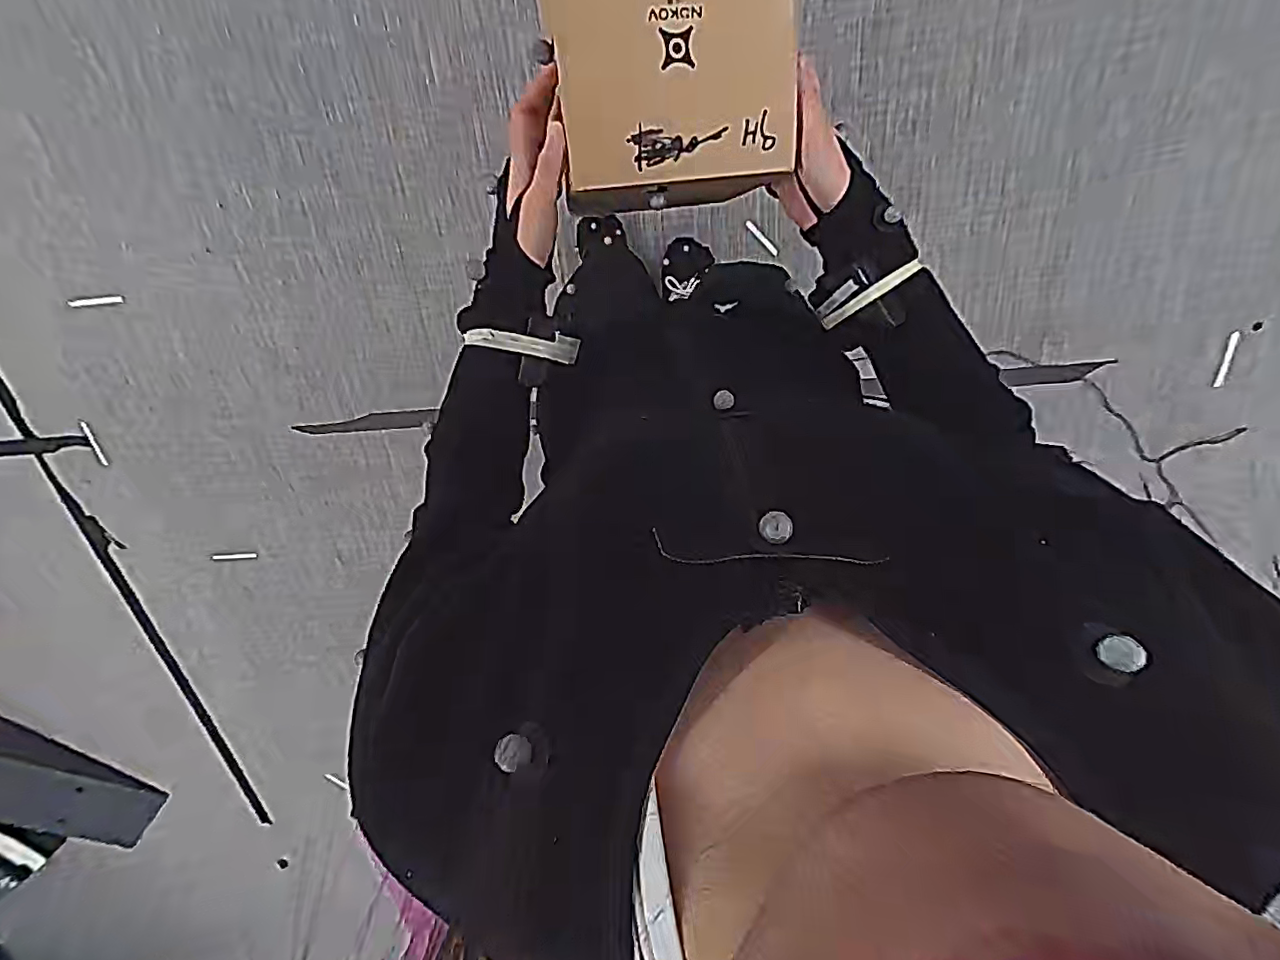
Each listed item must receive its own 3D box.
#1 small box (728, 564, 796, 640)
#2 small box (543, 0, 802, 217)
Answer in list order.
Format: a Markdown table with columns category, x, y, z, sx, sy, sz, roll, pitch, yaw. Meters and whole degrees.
| category | x | y | z | sx | sy | sz | roll | pitch | yaw |
| --- | --- | --- | --- | --- | --- | --- | --- | --- | --- |
| small box | 0.365 | 0.366 | 1.643 | 0.179 | 0.176 | 0.168 | -2 | 114 | 4 |
| small box | 0.015 | -0.320 | 0.428 | 0.168 | 0.176 | 0.179 | -8 | 111 | -6 |
